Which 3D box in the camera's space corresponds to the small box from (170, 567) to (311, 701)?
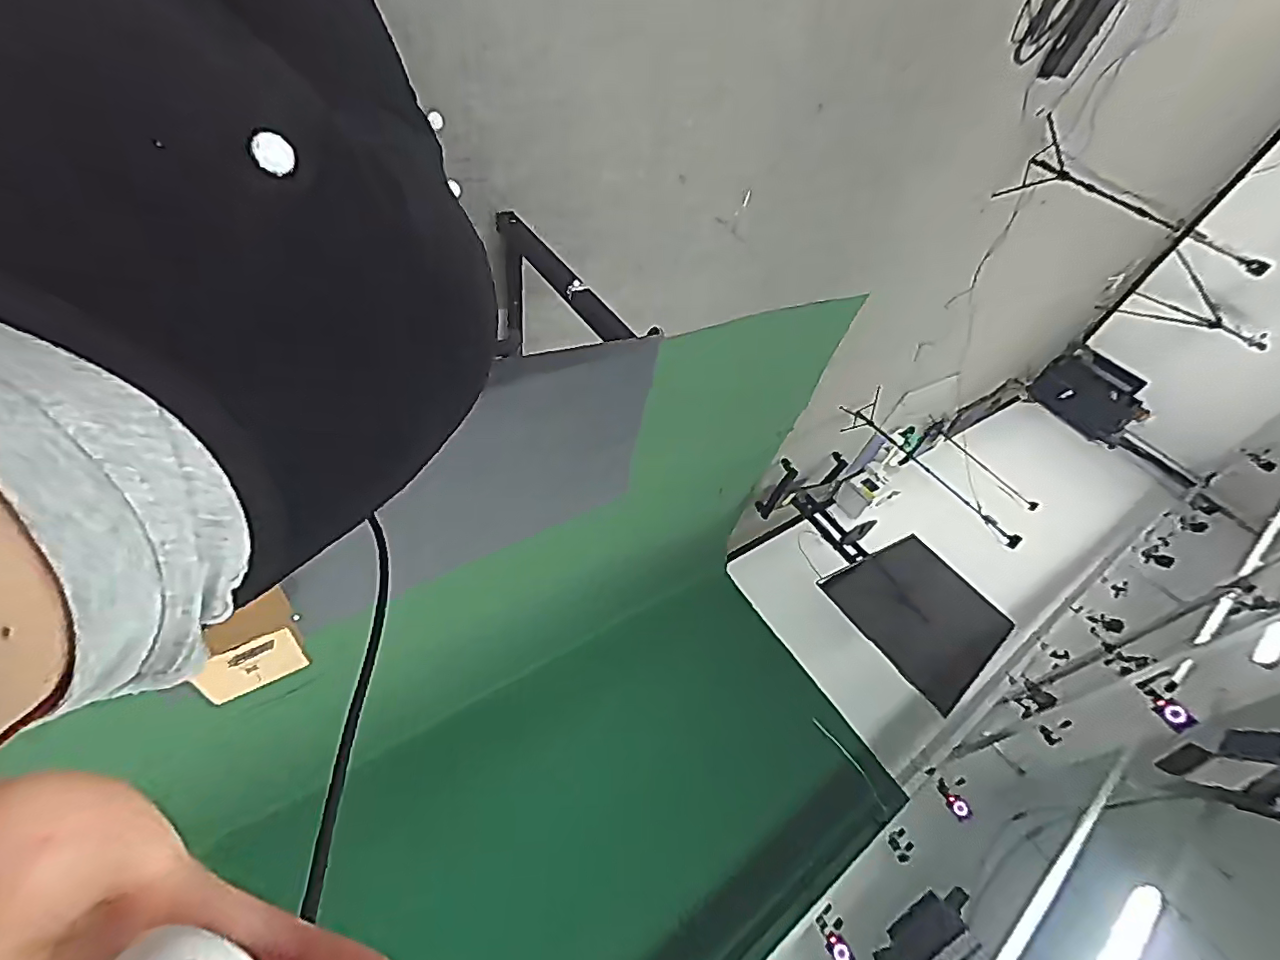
[{"bbox_3d":[-0.781,0.293,1.063,0.168,0.176,0.179,-22,149,-31],"label":"small box"}]
